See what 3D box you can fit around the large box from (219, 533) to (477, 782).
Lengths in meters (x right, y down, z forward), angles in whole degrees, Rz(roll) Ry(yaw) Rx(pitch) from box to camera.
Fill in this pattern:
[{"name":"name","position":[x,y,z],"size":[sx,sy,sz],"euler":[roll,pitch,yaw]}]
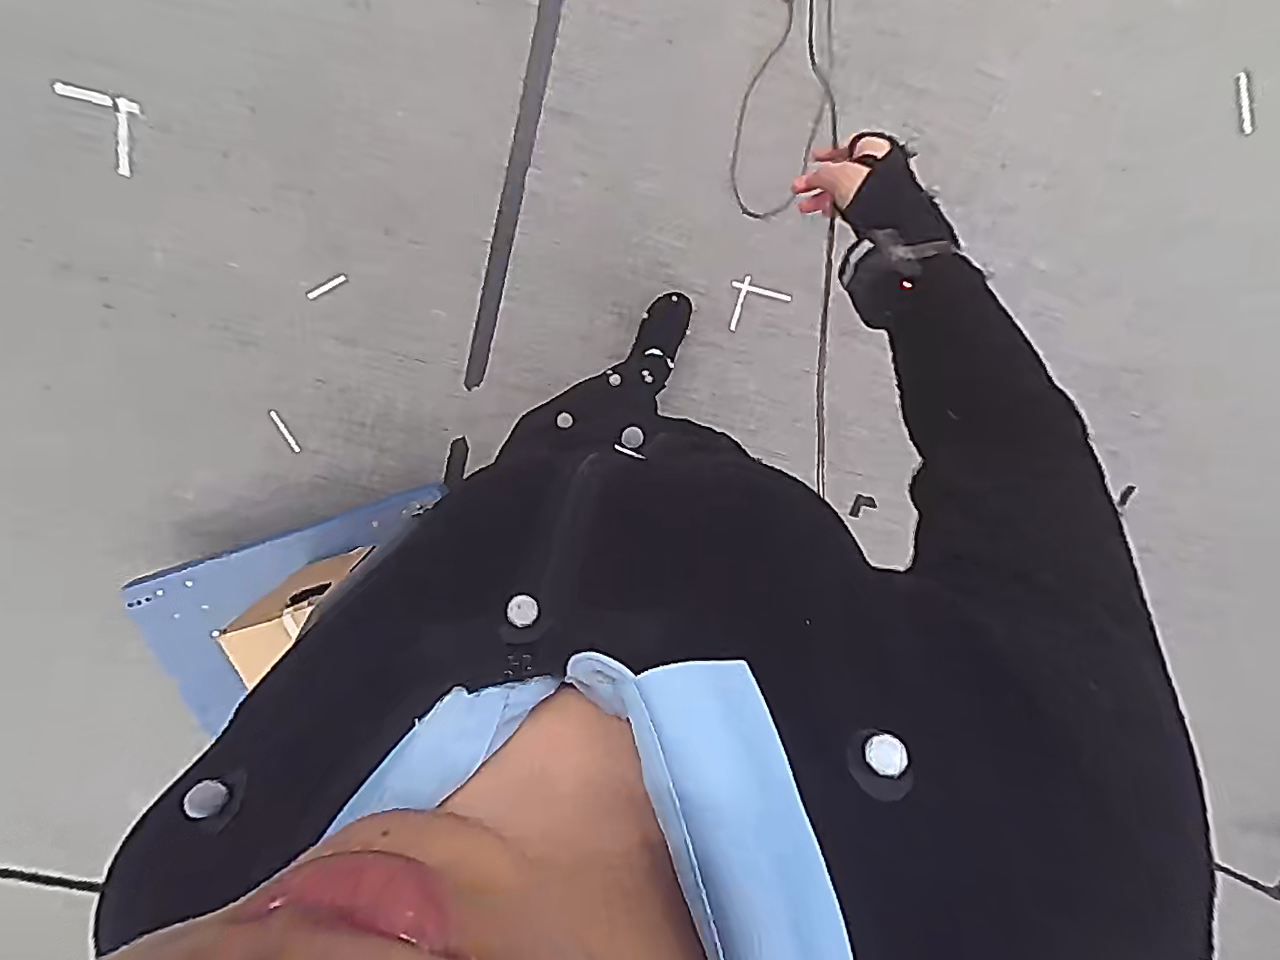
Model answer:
[{"name":"large box","position":[-0.629,0.393,1.252],"size":[0.320,0.320,0.408],"euler":[-18,106,2]}]
